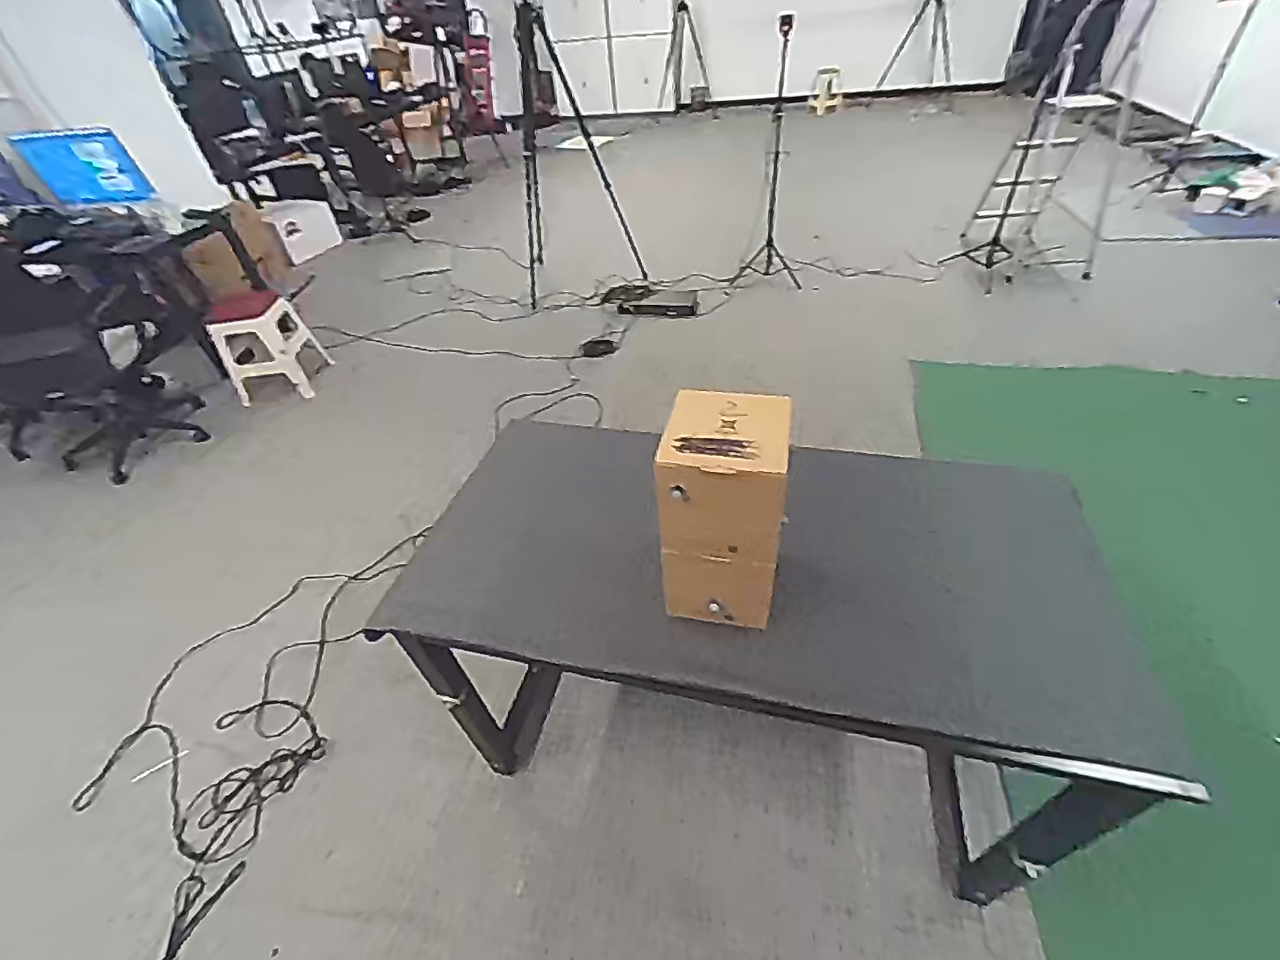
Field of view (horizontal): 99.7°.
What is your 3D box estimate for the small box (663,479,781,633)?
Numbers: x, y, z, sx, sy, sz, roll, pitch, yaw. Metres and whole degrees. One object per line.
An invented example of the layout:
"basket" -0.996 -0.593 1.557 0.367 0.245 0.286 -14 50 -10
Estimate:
"small box" 0.136 0.123 0.892 0.168 0.176 0.179 6 43 13
